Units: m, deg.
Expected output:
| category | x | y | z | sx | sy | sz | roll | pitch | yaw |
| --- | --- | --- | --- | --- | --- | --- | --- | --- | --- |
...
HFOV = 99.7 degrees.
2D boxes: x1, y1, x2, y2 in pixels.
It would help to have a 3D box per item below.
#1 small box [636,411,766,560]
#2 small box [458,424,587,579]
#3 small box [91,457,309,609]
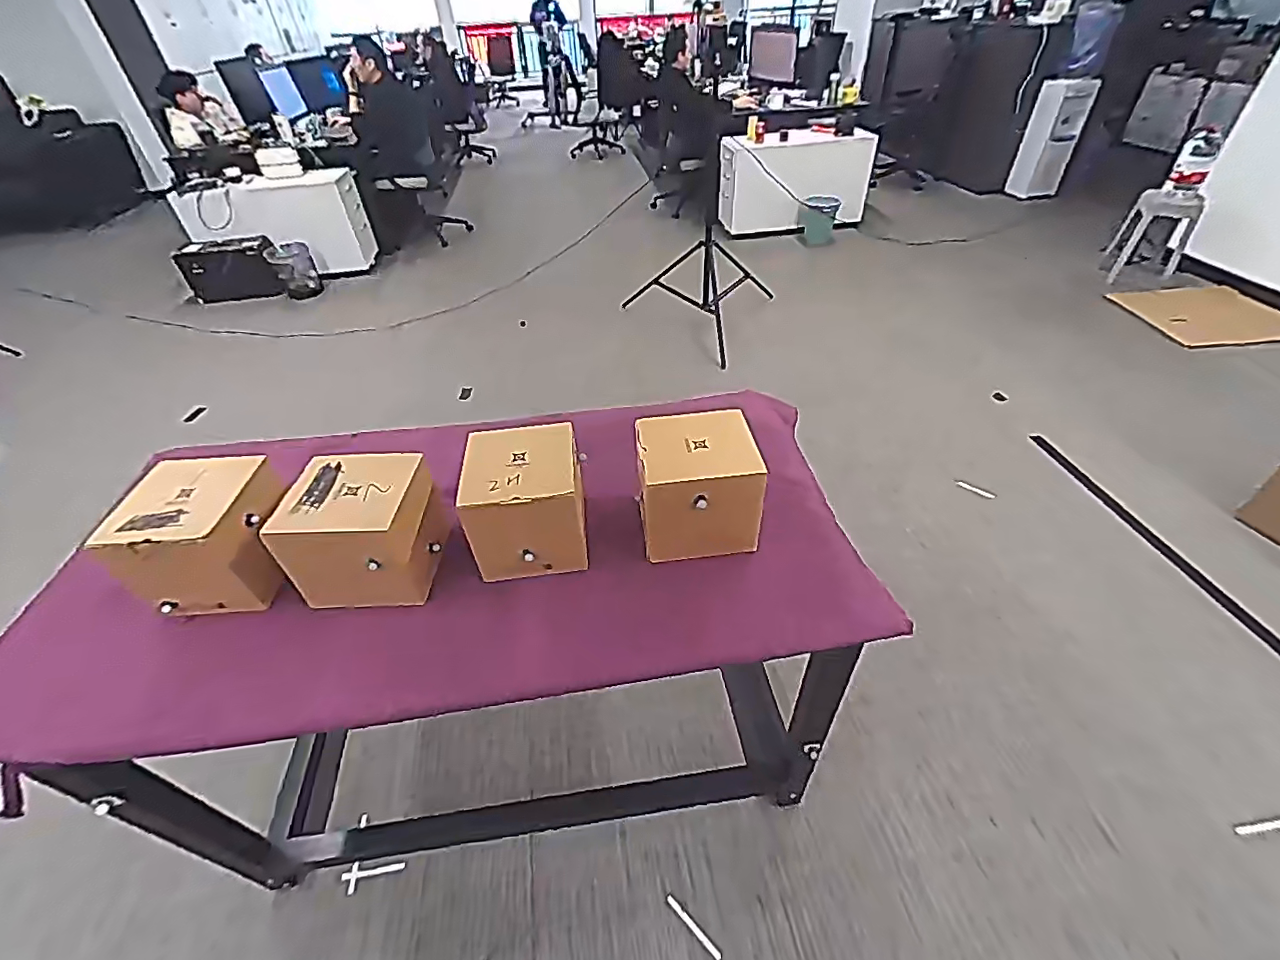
| category | x | y | z | sx | sy | sz | roll | pitch | yaw |
| --- | --- | --- | --- | --- | --- | --- | --- | --- | --- |
| small box | 0.089 | 0.010 | 0.872 | 0.179 | 0.176 | 0.168 | -6 | 40 | -3 |
| small box | -0.177 | 0.033 | 0.864 | 0.168 | 0.176 | 0.179 | -7 | 42 | -3 |
| small box | -0.651 | 0.086 | 0.834 | 0.168 | 0.176 | 0.179 | -3 | 42 | 0 |
